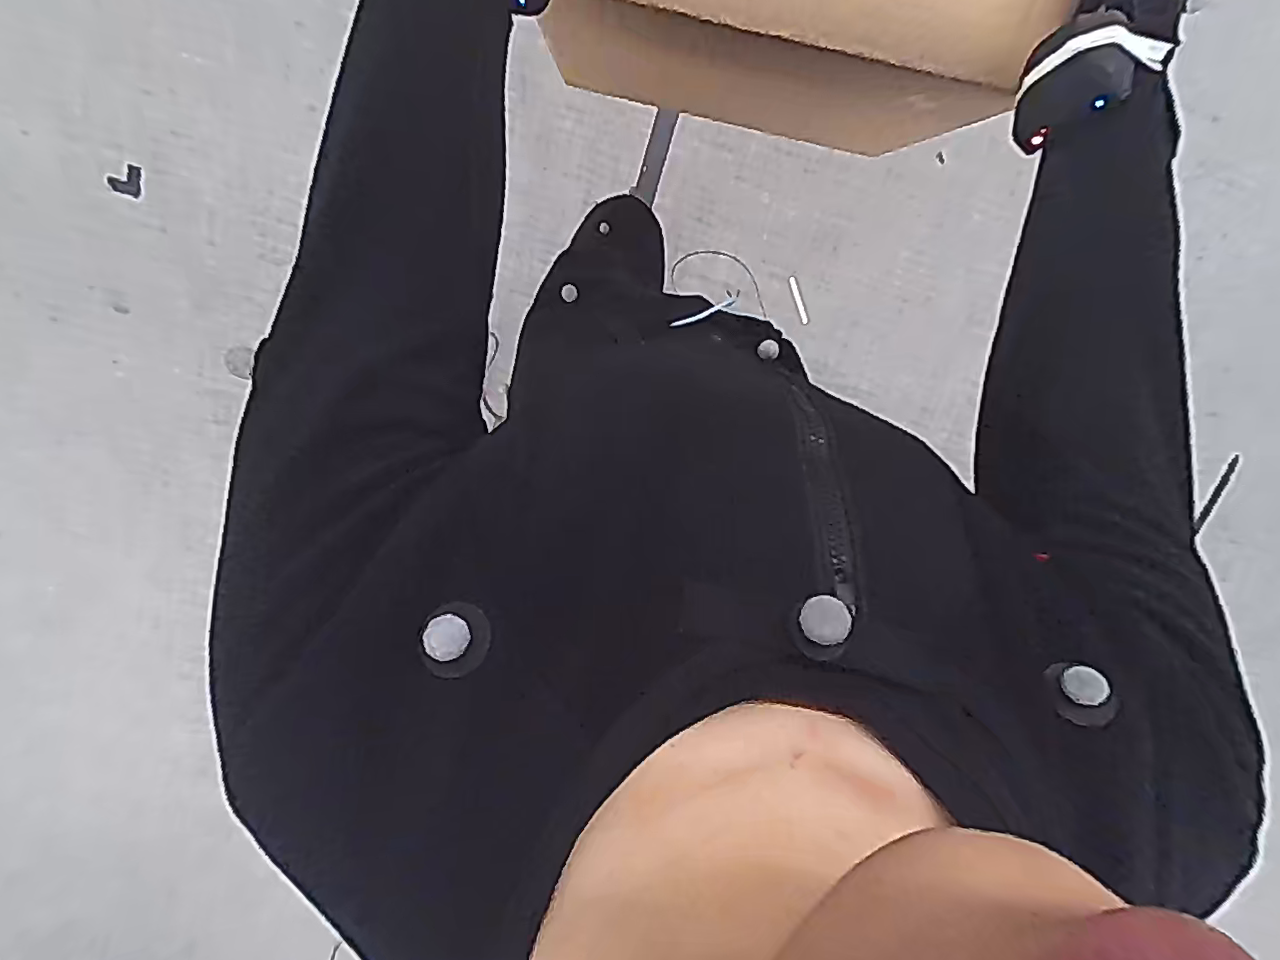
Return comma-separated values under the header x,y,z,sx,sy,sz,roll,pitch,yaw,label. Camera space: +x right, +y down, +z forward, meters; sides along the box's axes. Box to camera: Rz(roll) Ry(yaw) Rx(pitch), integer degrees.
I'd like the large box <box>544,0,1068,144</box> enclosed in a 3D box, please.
x,y,z,sx,sy,sz,roll,pitch,yaw,label
0.136,-0.533,0.478,0.408,0.320,0.320,10,115,-5,large box
